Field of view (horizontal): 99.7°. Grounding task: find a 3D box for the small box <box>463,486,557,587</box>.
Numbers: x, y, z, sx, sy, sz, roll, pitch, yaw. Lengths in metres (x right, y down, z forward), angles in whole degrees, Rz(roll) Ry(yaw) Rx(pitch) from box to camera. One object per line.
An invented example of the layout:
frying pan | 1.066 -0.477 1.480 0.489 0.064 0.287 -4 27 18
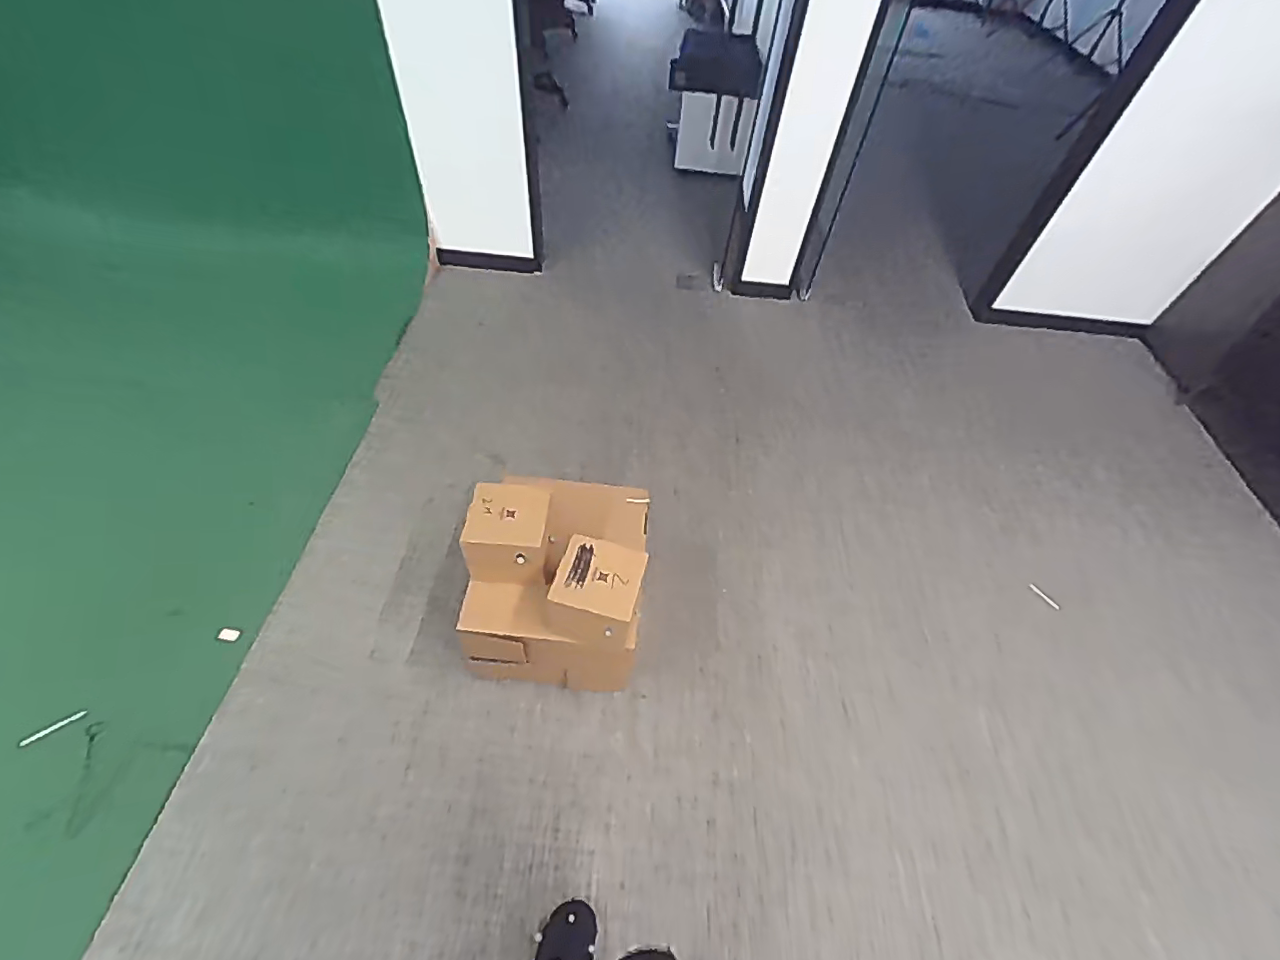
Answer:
small box | -0.292 0.135 1.257 0.179 0.176 0.168 5 50 -1
